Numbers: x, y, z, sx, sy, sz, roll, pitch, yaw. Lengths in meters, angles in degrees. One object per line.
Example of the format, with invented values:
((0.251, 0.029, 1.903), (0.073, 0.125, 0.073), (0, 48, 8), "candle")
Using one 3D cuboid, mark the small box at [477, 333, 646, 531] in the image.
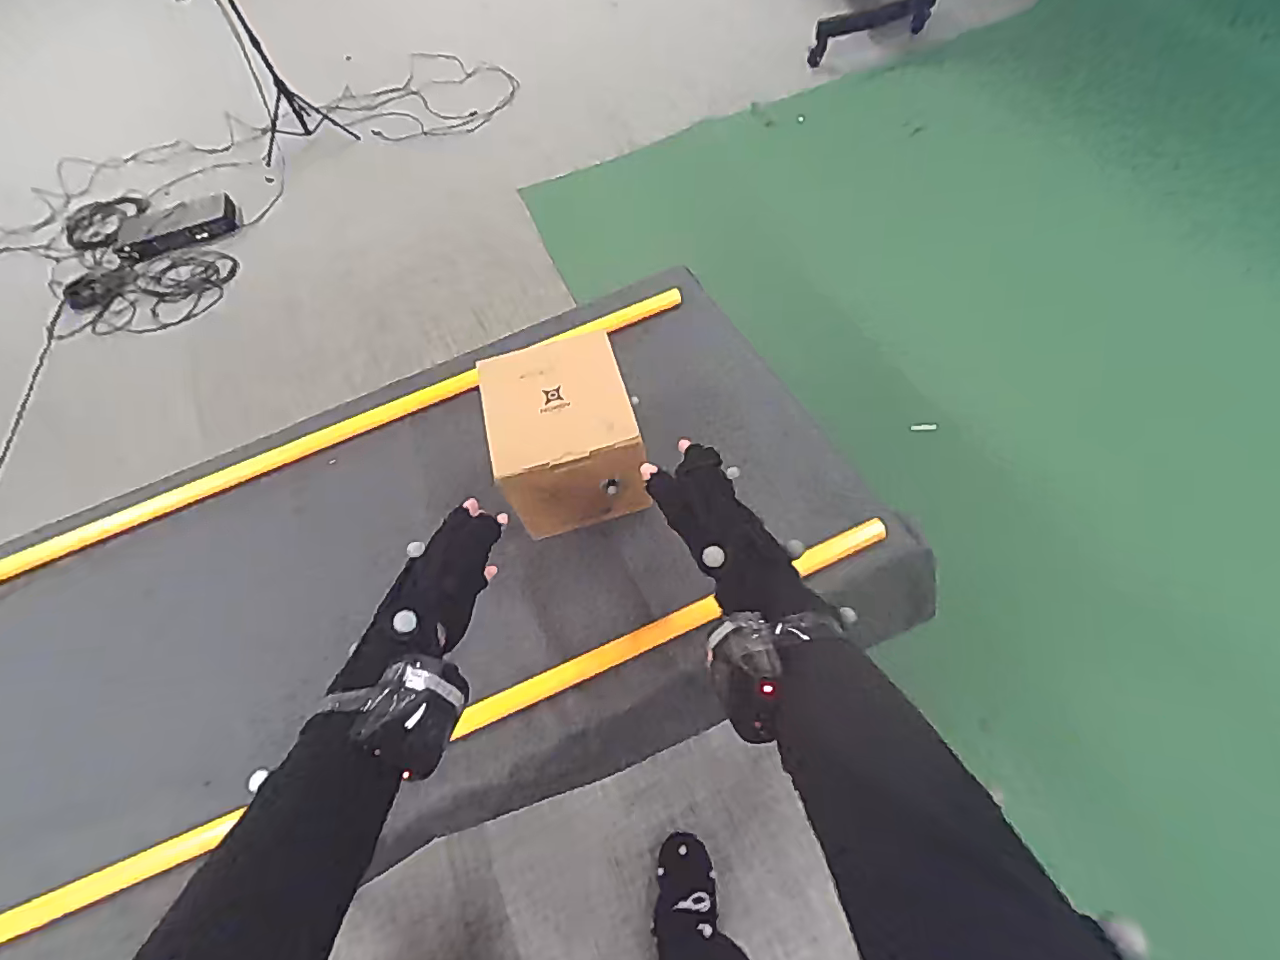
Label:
((-0.094, -0.052, 0.692), (0.168, 0.176, 0.179), (-16, 58, -4), "small box")
